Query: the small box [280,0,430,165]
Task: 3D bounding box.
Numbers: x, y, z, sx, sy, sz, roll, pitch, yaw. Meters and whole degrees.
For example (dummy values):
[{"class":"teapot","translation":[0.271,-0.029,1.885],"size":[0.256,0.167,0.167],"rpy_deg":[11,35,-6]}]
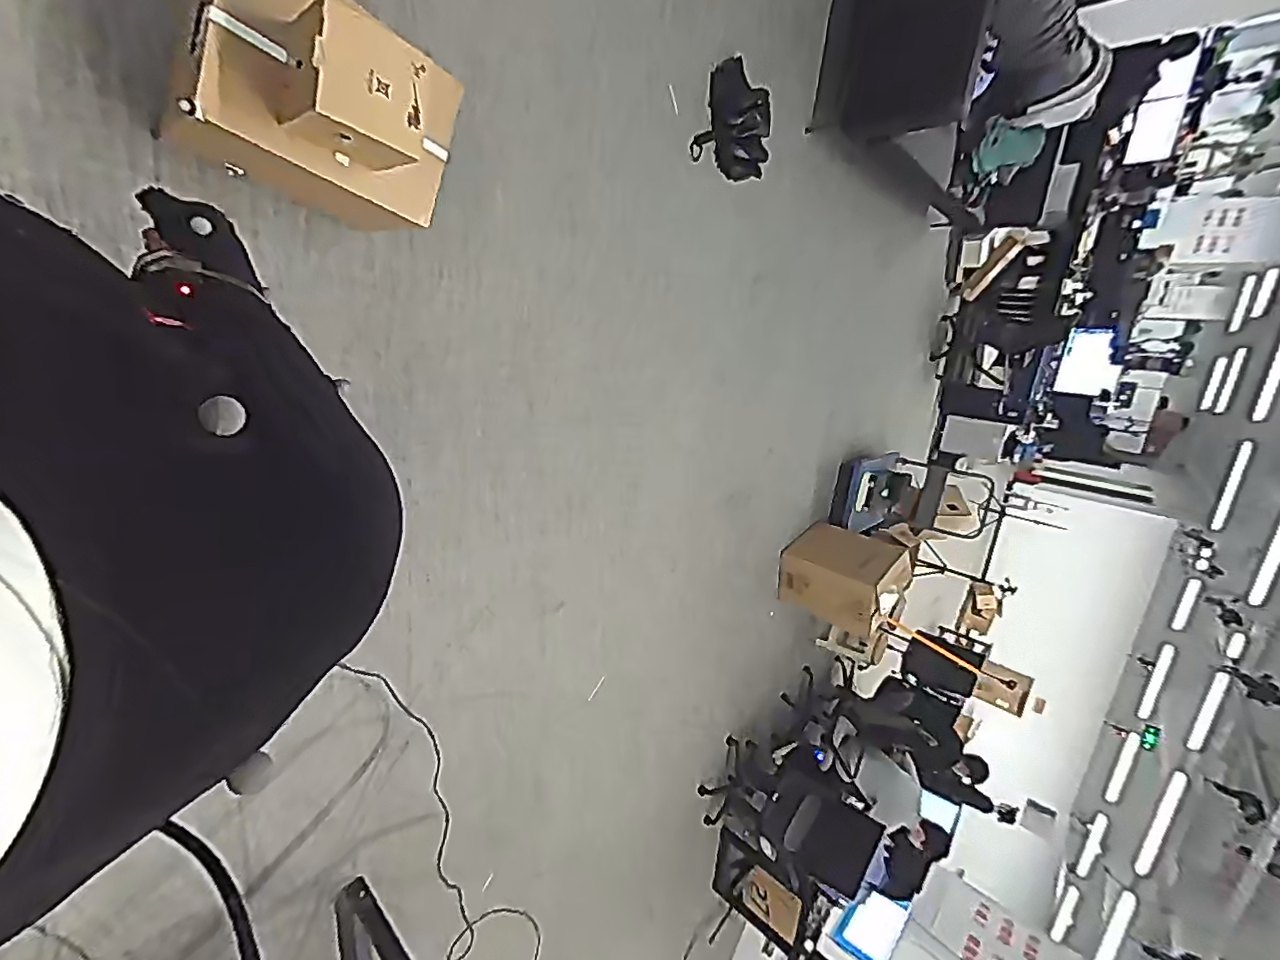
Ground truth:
[{"class":"small box","translation":[-0.489,-0.661,0.920],"size":[0.179,0.176,0.168],"rpy_deg":[1,104,-49]}]
